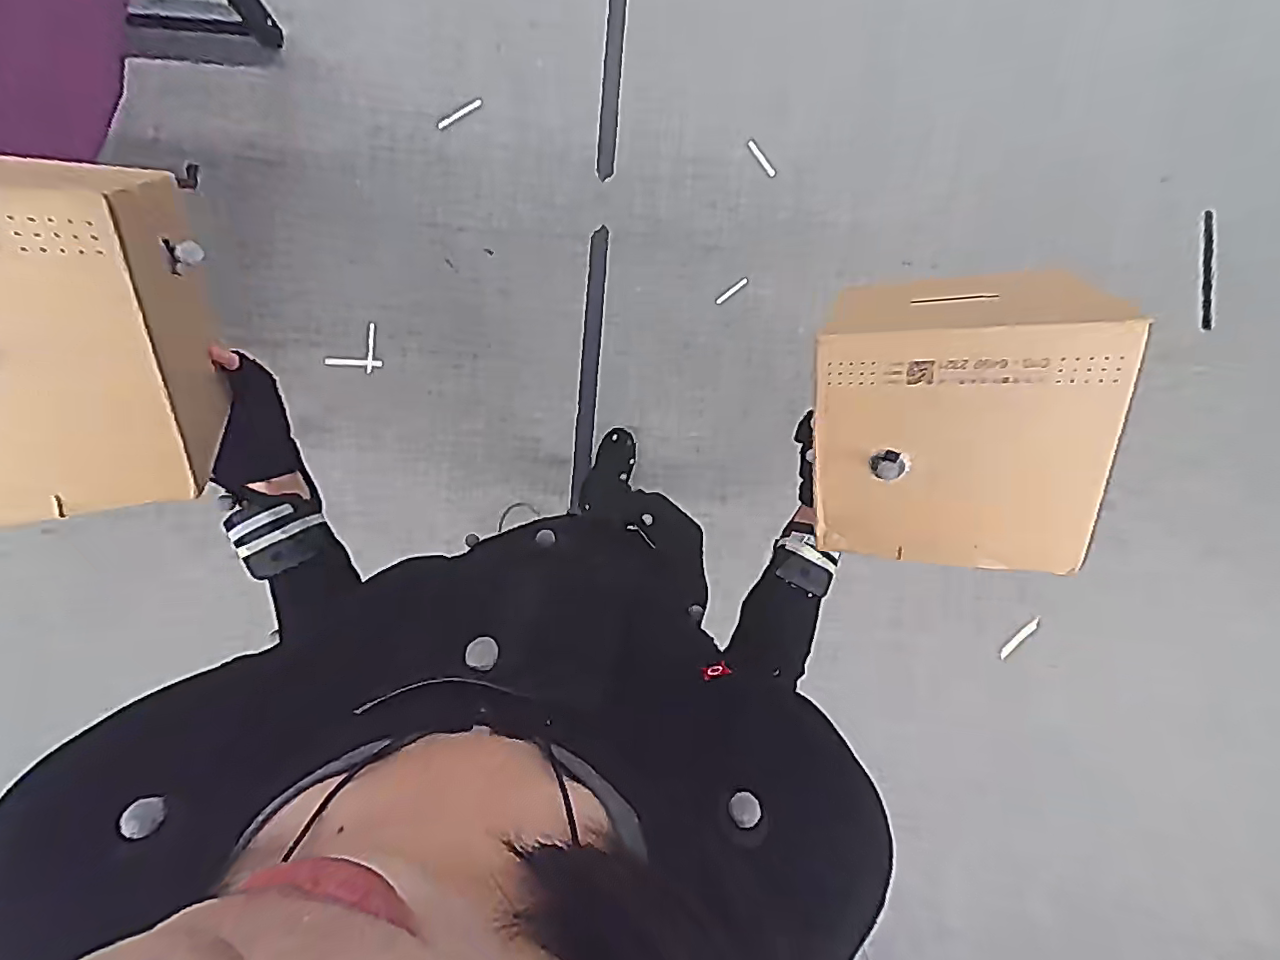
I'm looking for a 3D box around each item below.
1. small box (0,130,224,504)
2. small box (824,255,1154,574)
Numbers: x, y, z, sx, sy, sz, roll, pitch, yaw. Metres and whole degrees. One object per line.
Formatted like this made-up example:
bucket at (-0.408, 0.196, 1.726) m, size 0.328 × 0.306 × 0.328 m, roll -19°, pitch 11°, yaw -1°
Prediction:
small box at (-0.358, -0.096, 0.296) m, size 0.168 × 0.179 × 0.176 m, roll -8°, pitch 122°, yaw -27°
small box at (0.227, -0.058, 0.395) m, size 0.168 × 0.179 × 0.176 m, roll 4°, pitch 120°, yaw 23°
